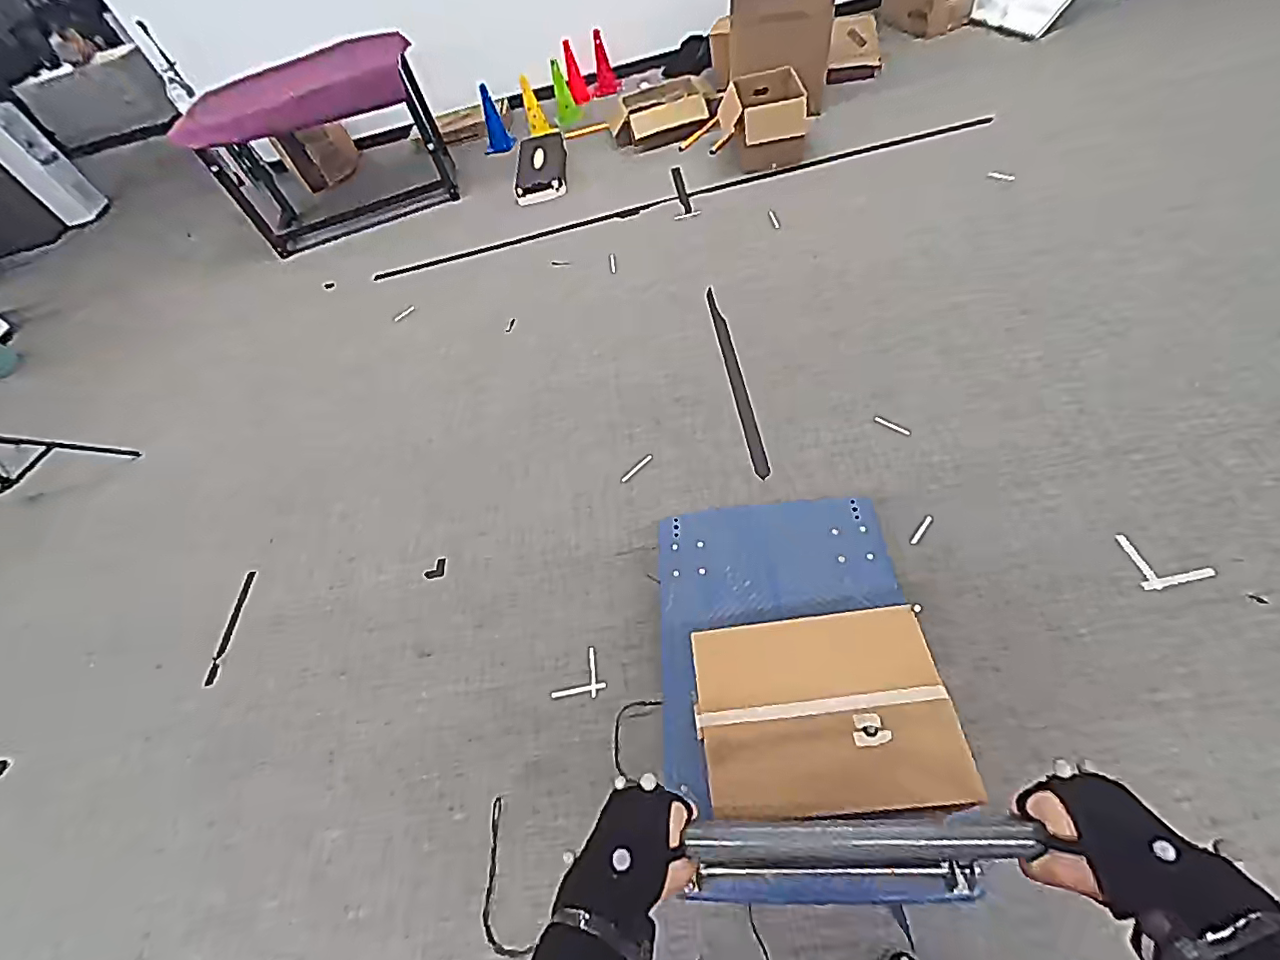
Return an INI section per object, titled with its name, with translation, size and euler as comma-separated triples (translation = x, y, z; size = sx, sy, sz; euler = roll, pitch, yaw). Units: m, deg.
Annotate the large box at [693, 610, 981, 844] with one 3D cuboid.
[large box]
translation = 0.329, 0.478, 1.028
size = 0.408, 0.320, 0.320
euler = -9, 53, 6
